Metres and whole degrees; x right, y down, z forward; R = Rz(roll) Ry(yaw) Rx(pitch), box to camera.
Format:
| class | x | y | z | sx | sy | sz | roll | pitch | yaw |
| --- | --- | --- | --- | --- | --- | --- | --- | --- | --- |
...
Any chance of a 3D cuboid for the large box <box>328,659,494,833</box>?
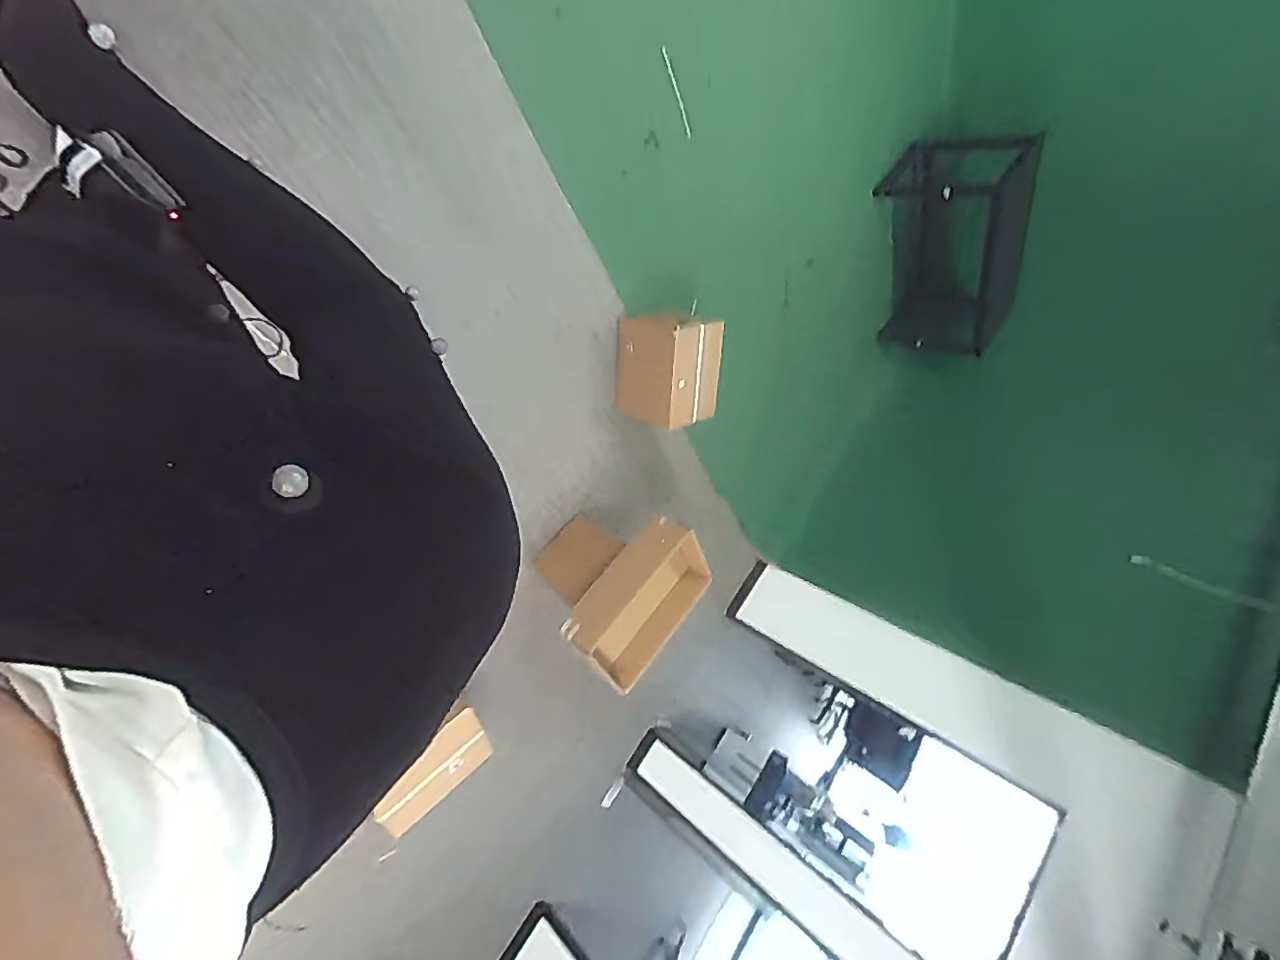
| class | x | y | z | sx | sy | sz | roll | pitch | yaw |
| --- | --- | --- | --- | --- | --- | --- | --- | --- | --- |
| large box | -0.820 | 0.948 | 1.965 | 0.408 | 0.320 | 0.320 | -36 | 134 | -34 |
